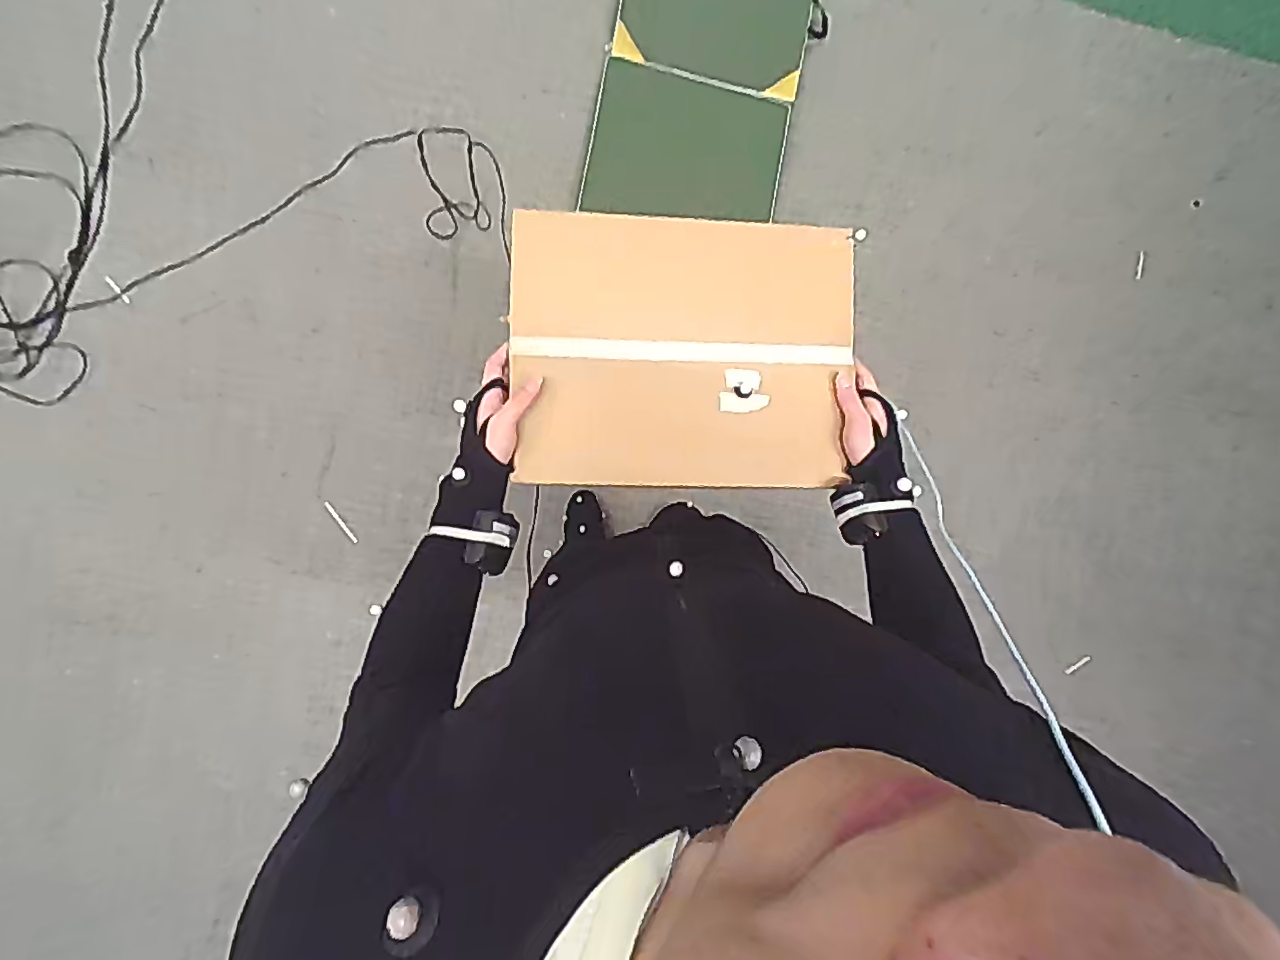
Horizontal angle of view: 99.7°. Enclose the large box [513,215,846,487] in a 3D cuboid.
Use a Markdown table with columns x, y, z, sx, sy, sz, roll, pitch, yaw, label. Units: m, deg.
| x | y | z | sx | sy | sz | roll | pitch | yaw | label |
| --- | --- | --- | --- | --- | --- | --- | --- | --- | --- |
| 0.036 | -0.150 | 0.788 | 0.408 | 0.320 | 0.320 | 1 | 89 | -6 | large box |
